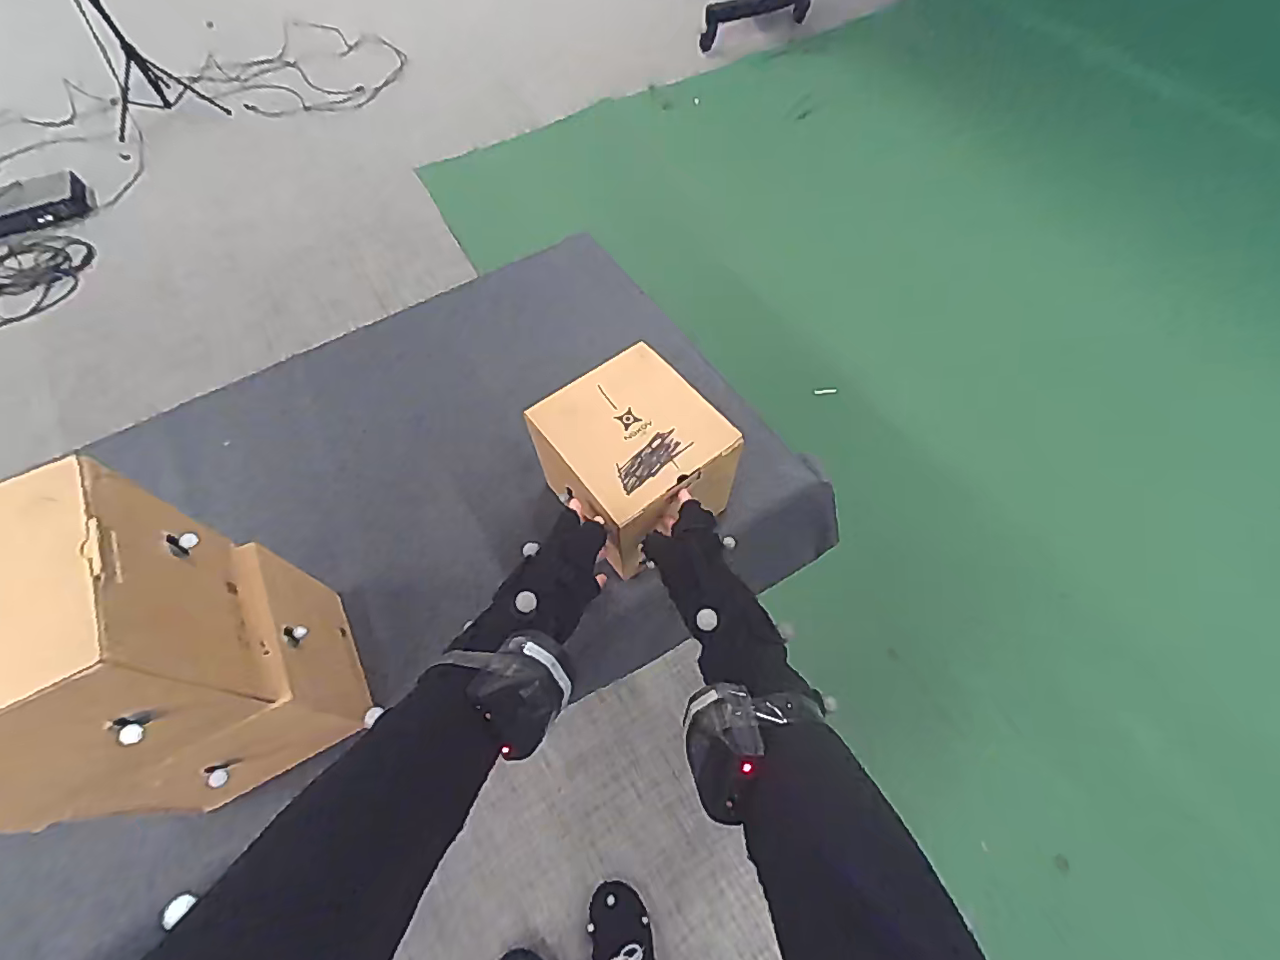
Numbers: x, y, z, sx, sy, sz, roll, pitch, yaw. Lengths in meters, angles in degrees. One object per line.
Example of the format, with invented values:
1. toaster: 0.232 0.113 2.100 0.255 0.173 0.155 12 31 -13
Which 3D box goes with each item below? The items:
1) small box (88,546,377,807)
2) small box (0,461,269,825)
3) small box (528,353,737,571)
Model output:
1. small box: -0.400 0.200 0.540 0.179 0.176 0.168 -26 63 -13
2. small box: -0.411 0.123 0.396 0.179 0.176 0.168 -28 62 -14
3. small box: -0.008 -0.011 0.655 0.168 0.176 0.179 -34 65 -17
